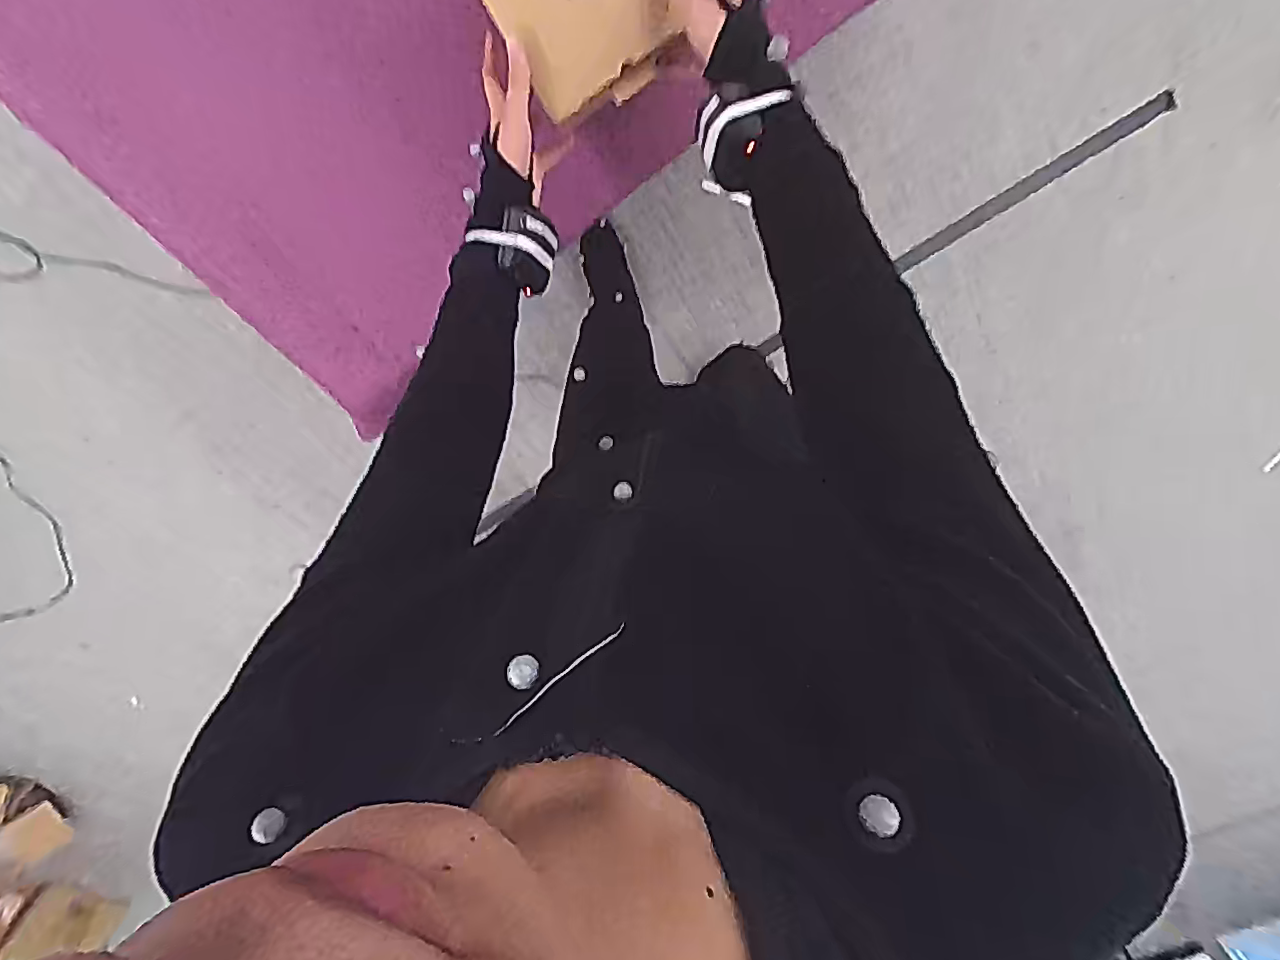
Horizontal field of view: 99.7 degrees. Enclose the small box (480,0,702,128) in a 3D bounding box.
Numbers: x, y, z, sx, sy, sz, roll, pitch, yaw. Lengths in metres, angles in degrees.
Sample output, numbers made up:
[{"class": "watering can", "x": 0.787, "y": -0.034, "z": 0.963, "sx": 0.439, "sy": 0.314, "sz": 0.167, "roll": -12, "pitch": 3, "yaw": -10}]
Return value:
[{"class": "small box", "x": -0.061, "y": -0.471, "z": 0.514, "sx": 0.168, "sy": 0.176, "sz": 0.179, "roll": -29, "pitch": 119, "yaw": 12}]
